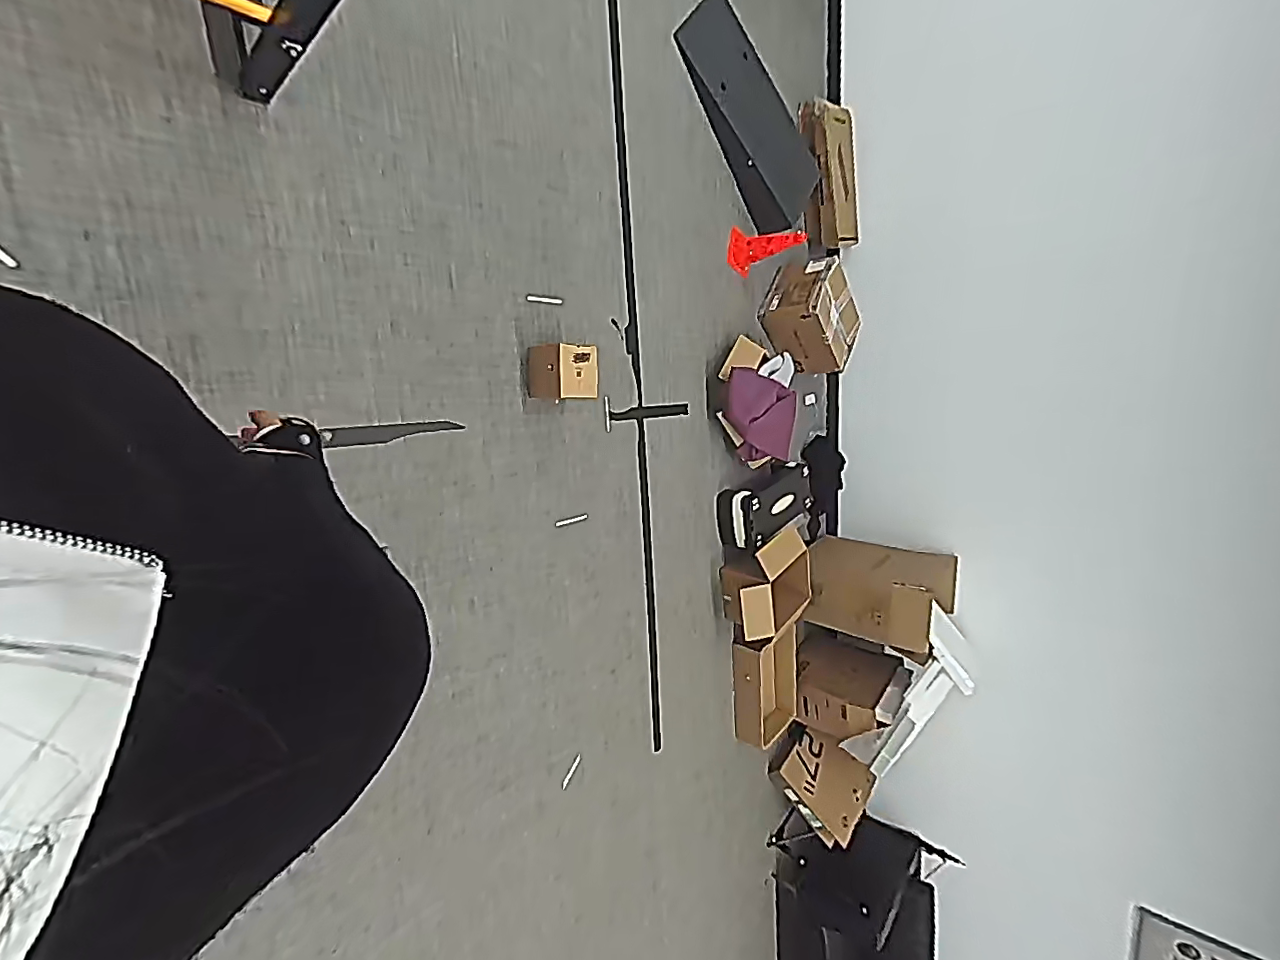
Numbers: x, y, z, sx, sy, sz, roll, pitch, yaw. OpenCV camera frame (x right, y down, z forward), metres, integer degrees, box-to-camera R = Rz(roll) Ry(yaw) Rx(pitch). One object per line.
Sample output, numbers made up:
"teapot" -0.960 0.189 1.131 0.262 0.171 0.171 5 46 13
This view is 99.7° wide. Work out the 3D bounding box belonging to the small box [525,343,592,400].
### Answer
"small box" -0.281 -0.366 1.852 0.168 0.176 0.179 -8 101 -48
